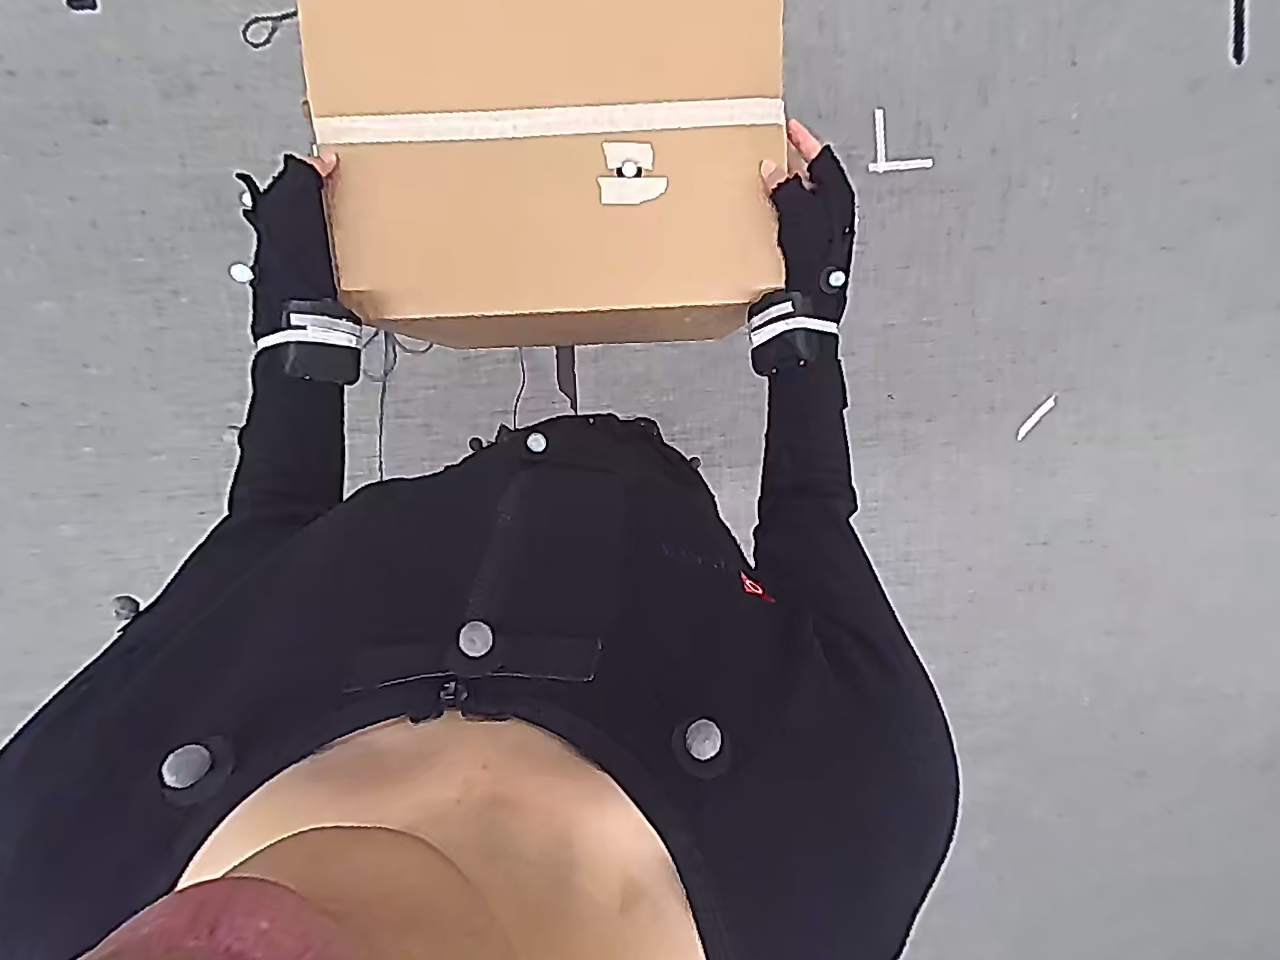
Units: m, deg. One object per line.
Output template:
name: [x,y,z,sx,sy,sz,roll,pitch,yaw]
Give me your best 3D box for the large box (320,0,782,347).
large box: [-0.078,-0.337,0.633,0.408,0.320,0.320,-3,100,-1]
